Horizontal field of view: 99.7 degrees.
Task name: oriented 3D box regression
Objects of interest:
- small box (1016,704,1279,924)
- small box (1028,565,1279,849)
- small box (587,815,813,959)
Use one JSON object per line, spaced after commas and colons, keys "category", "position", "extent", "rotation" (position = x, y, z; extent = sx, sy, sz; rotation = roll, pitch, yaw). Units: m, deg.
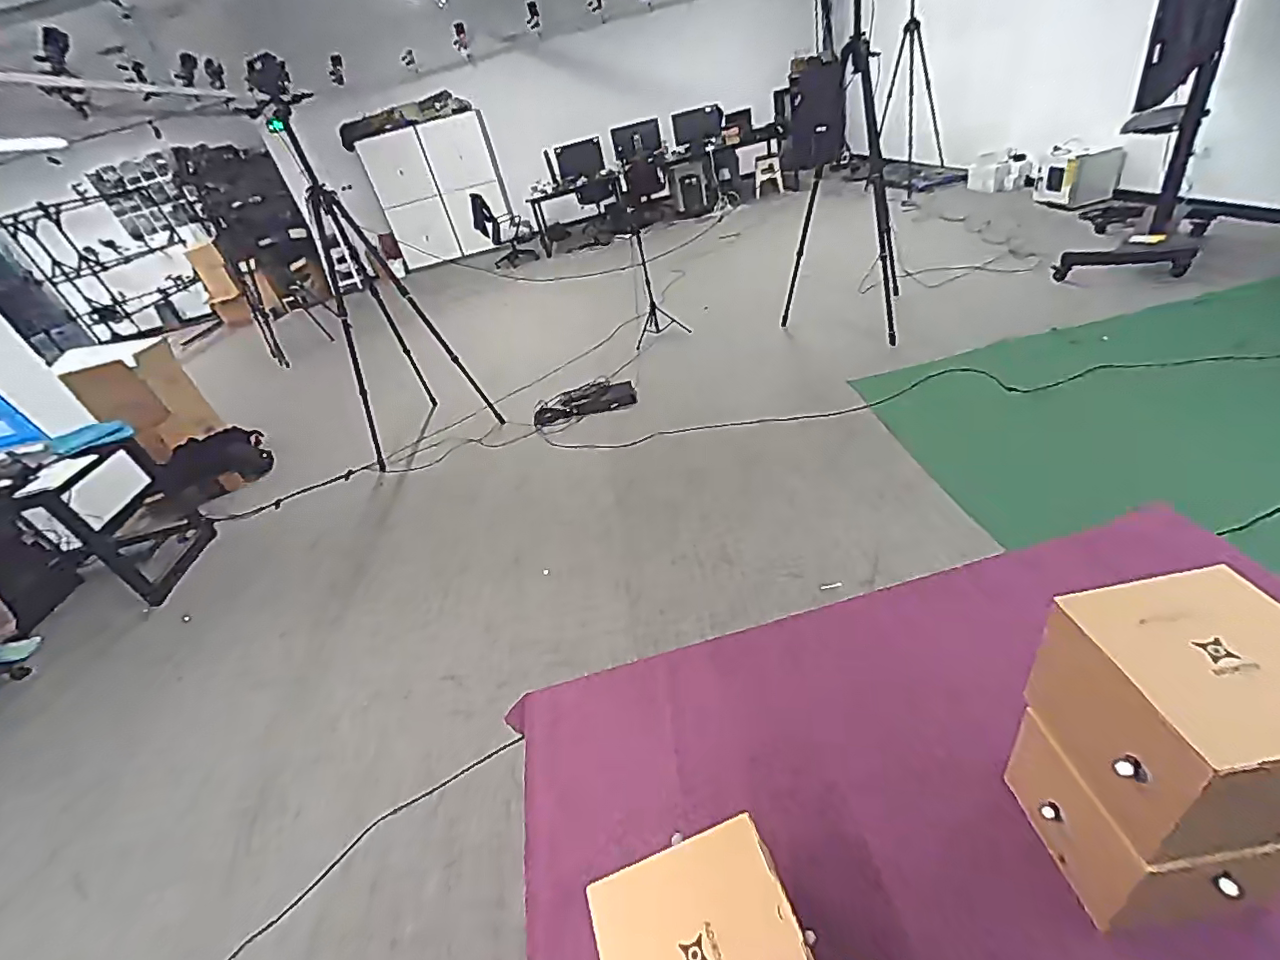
{"category": "small box", "position": [0.543, 0.345, 0.584], "extent": [0.179, 0.176, 0.168], "rotation": [-13, 35, 5]}
{"category": "small box", "position": [0.504, 0.211, 0.500], "extent": [0.168, 0.176, 0.179], "rotation": [-13, 34, 5]}
{"category": "small box", "position": [0.071, 0.466, 0.522], "extent": [0.179, 0.176, 0.168], "rotation": [-23, 44, -3]}
